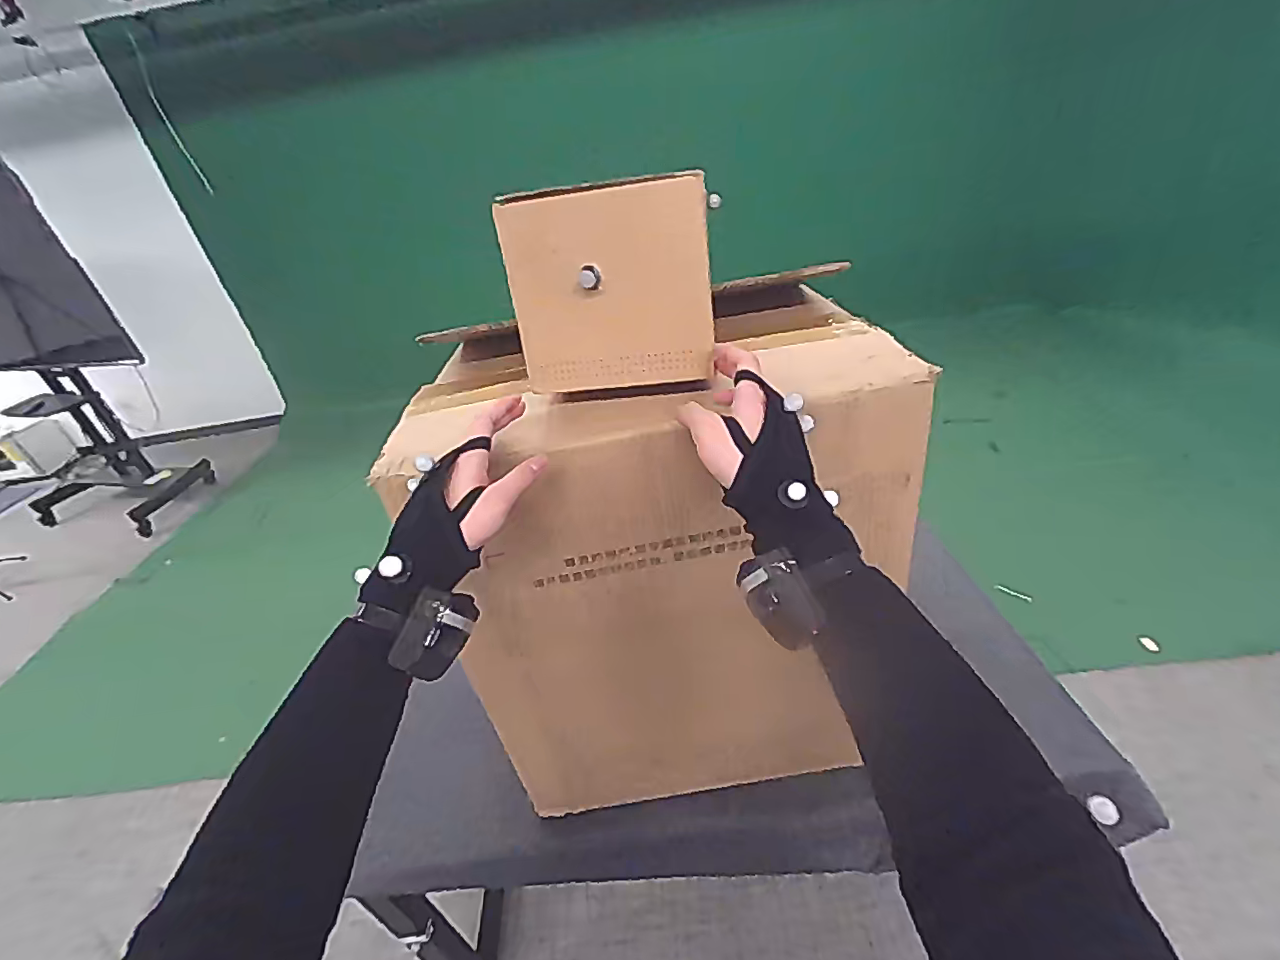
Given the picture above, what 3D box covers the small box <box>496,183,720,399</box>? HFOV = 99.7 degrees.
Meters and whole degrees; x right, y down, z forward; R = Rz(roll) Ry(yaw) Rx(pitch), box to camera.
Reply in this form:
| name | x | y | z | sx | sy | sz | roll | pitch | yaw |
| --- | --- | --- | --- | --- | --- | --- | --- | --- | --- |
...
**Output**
| name | x | y | z | sx | sy | sz | roll | pitch | yaw |
| --- | --- | --- | --- | --- | --- | --- | --- | --- | --- |
| small box | -0.016 | -0.187 | 0.539 | 0.179 | 0.176 | 0.168 | -4 | 28 | 8 |
